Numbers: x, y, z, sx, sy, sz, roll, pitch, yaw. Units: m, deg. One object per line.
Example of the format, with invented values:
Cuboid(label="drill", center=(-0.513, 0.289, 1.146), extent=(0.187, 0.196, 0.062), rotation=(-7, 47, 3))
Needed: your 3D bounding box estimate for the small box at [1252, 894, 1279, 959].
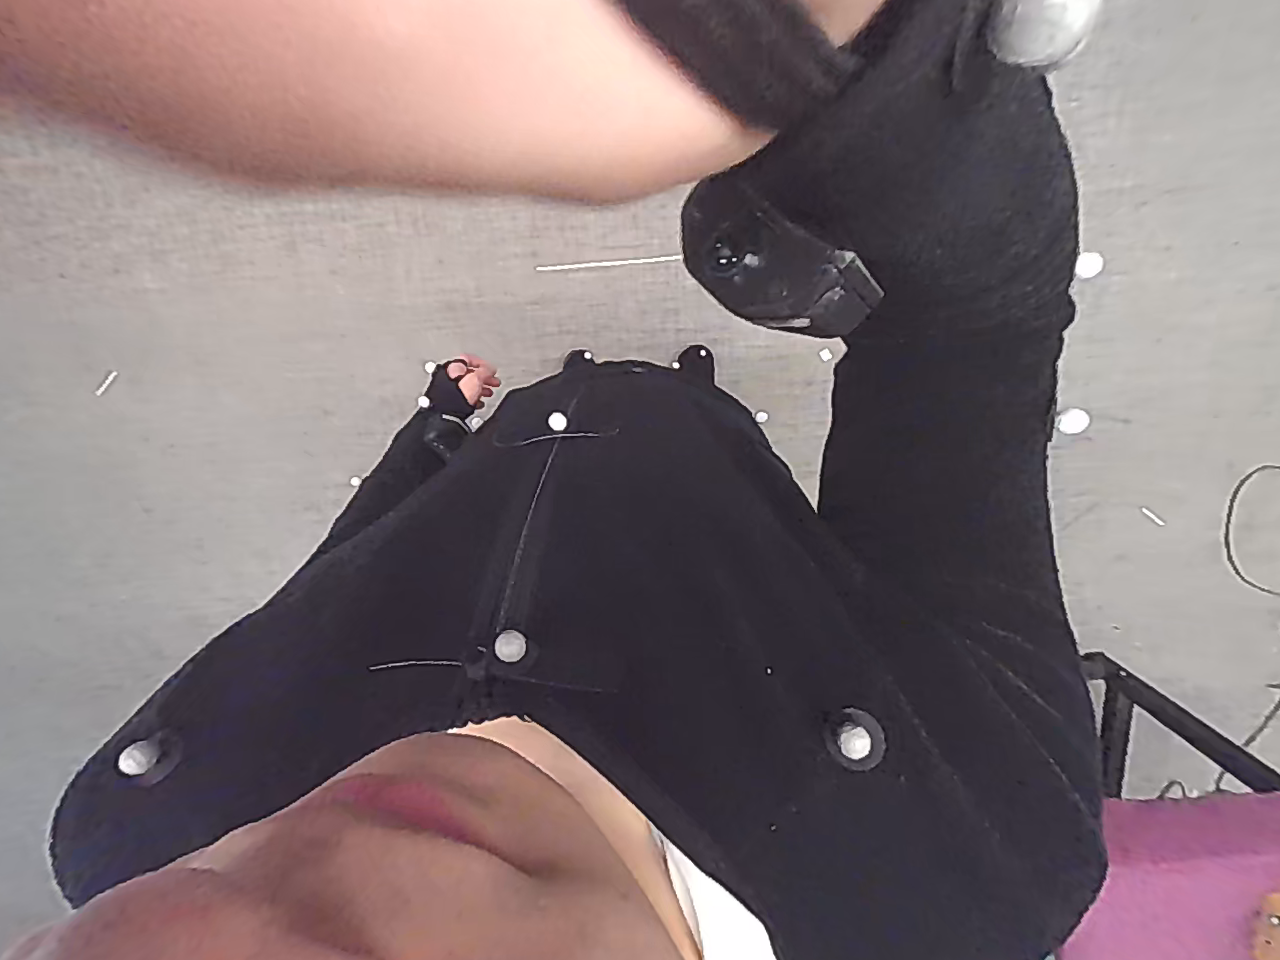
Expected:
Cuboid(label="small box", center=(1.333, 0.915, 1.017), extent=(0.179, 0.176, 0.168), rotation=(-6, 104, 2))
